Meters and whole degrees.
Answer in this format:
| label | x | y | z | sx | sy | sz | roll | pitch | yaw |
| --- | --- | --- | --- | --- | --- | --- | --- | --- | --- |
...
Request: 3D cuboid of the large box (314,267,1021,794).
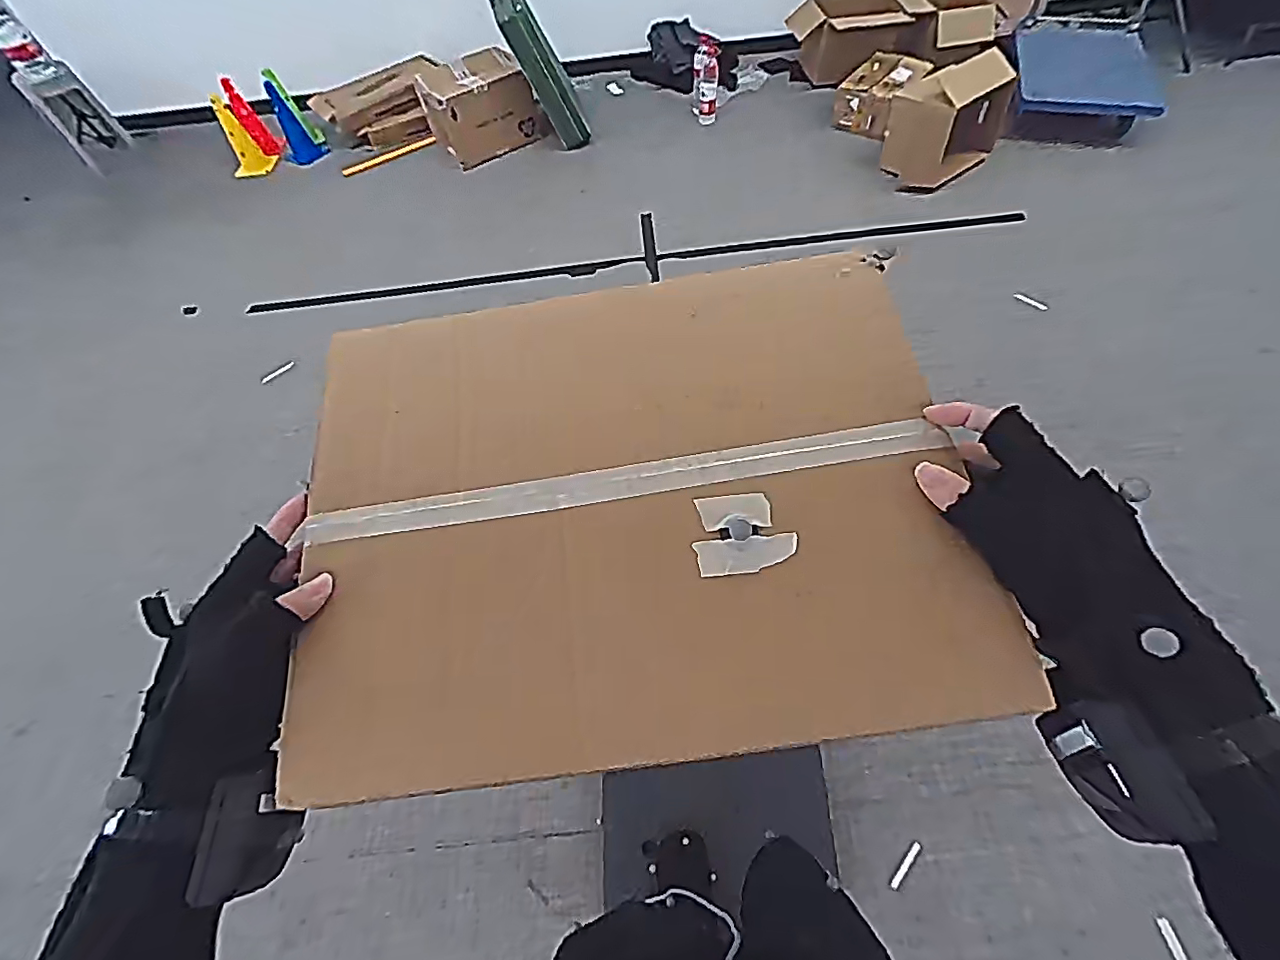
| label | x | y | z | sx | sy | sz | roll | pitch | yaw |
| --- | --- | --- | --- | --- | --- | --- | --- | --- | --- |
| large box | 0.004 | 0.065 | 0.491 | 0.408 | 0.320 | 0.320 | -9 | 67 | 1 |
